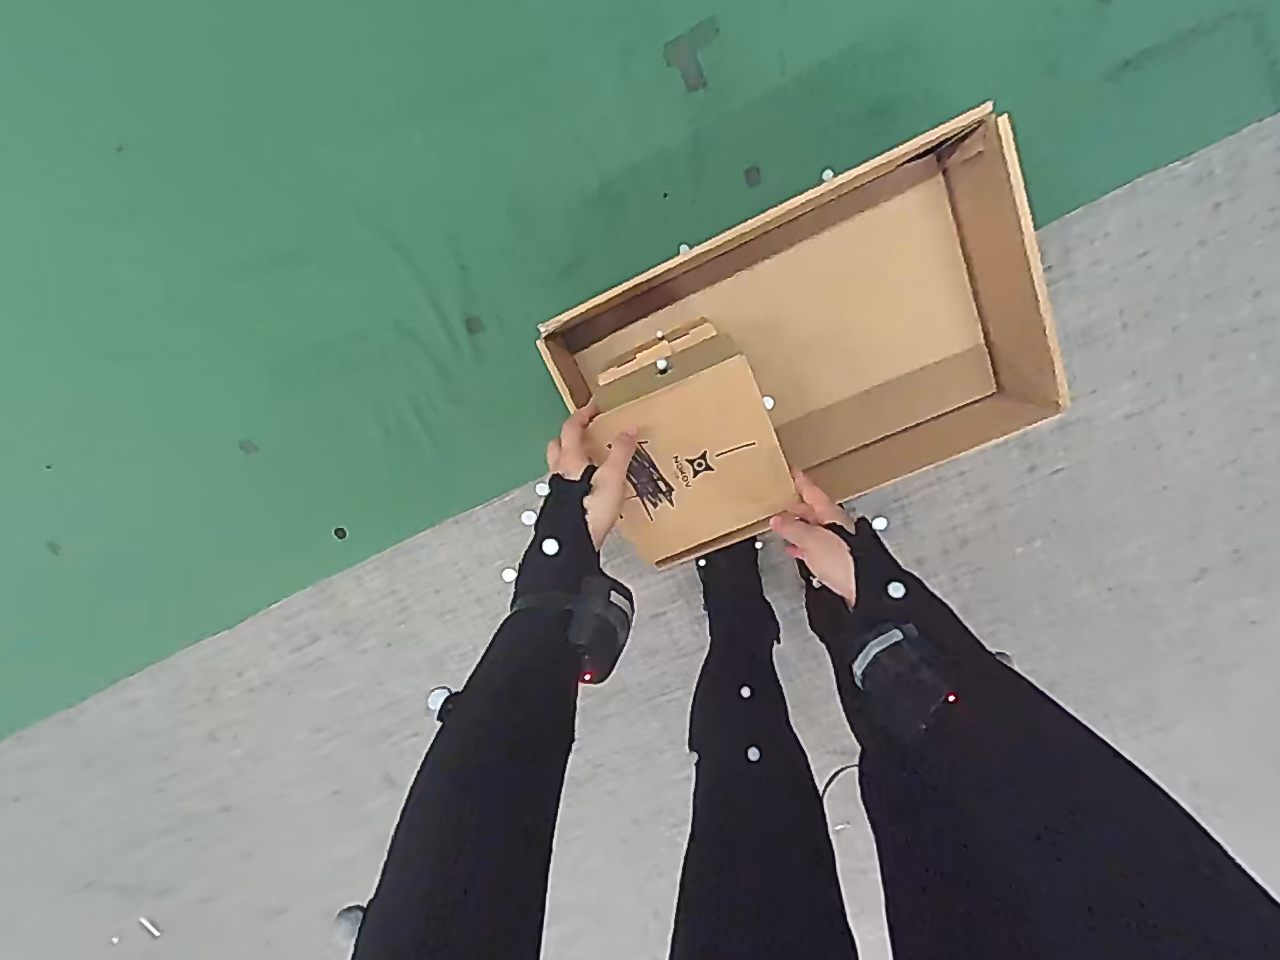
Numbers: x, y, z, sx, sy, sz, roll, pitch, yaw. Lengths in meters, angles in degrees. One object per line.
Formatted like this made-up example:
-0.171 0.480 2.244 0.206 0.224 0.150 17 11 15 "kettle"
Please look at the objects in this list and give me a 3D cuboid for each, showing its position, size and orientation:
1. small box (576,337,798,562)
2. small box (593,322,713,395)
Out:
0.052 -0.042 0.602 0.179 0.176 0.168 -23 111 11 "small box"
0.051 -0.113 0.785 0.168 0.176 0.179 -24 106 10 "small box"
